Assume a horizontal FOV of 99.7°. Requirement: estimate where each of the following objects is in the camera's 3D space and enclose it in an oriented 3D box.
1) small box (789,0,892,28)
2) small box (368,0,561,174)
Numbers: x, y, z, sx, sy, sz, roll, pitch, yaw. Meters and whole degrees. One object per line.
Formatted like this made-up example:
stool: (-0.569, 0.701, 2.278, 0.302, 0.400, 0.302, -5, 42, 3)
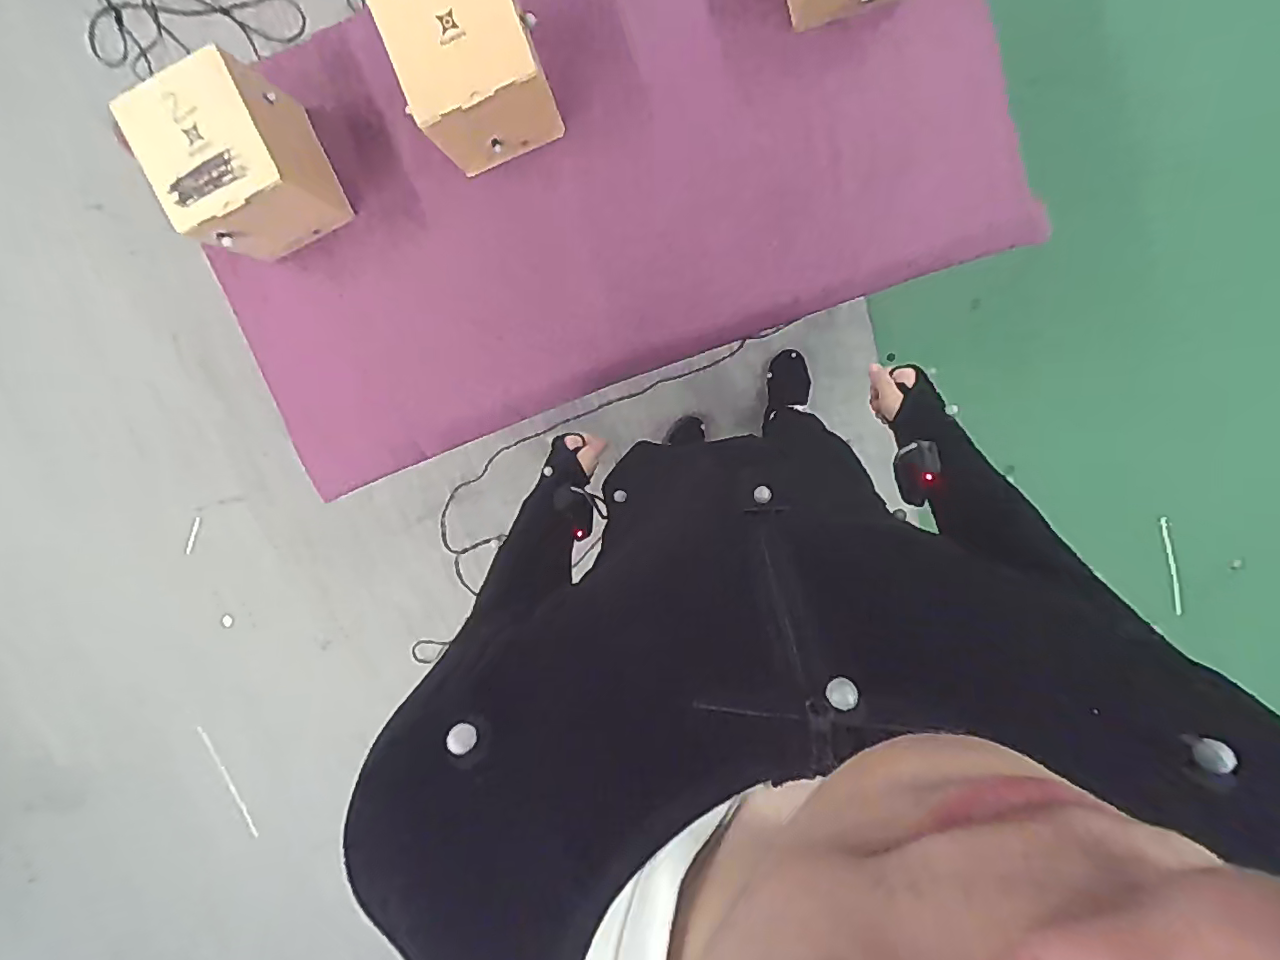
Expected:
small box: (0.267, -0.718, 0.658, 0.168, 0.176, 0.179, -14, 100, 7)
small box: (-0.223, -0.554, 0.725, 0.168, 0.176, 0.179, -20, 99, 7)
